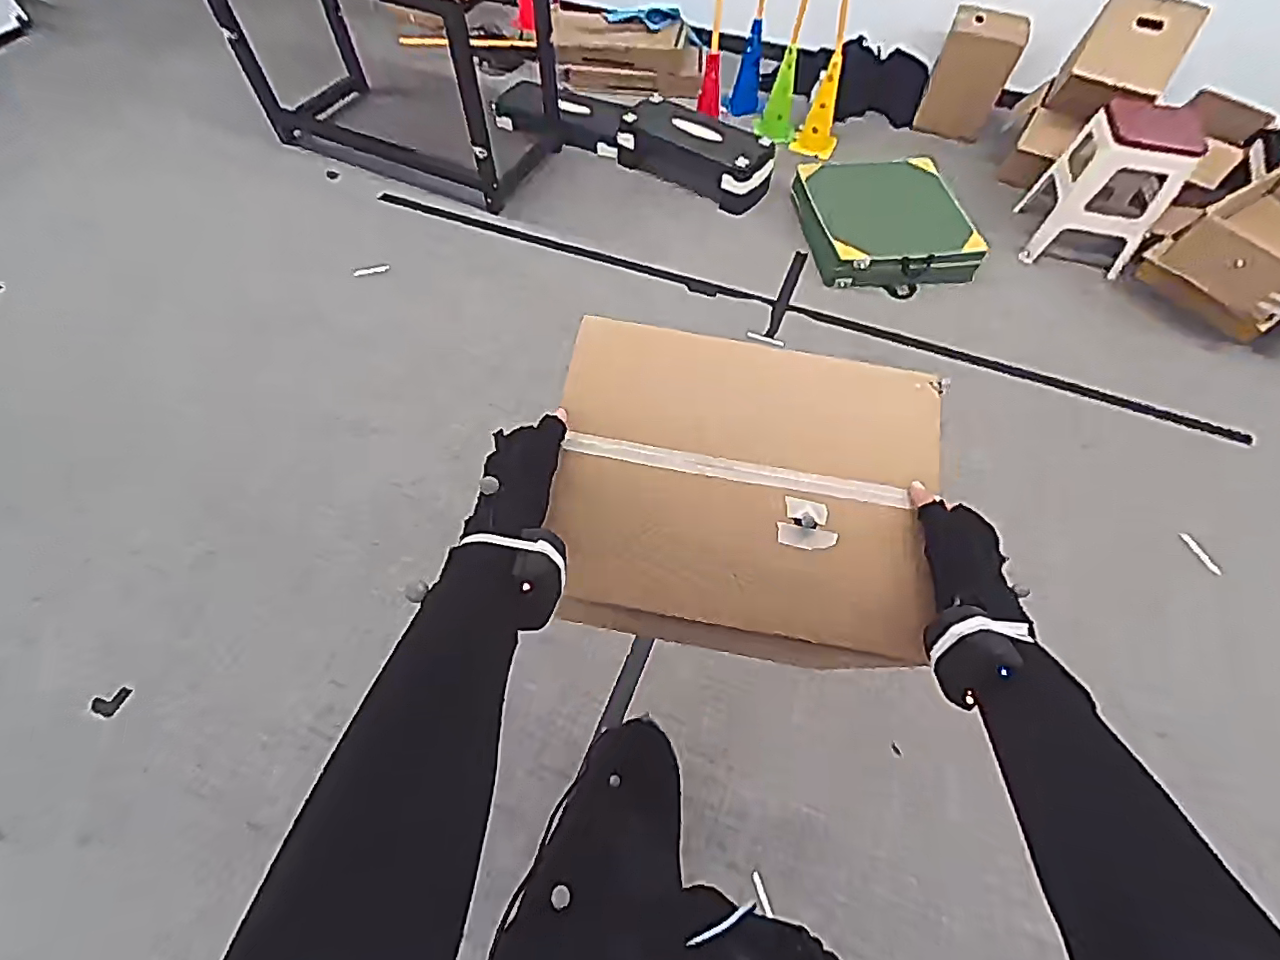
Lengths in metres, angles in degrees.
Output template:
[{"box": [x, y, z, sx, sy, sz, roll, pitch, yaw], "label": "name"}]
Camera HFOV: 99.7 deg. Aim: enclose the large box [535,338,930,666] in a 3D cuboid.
[{"box": [0.105, 0.054, 0.721, 0.408, 0.320, 0.320, 10, 71, 1], "label": "large box"}]
